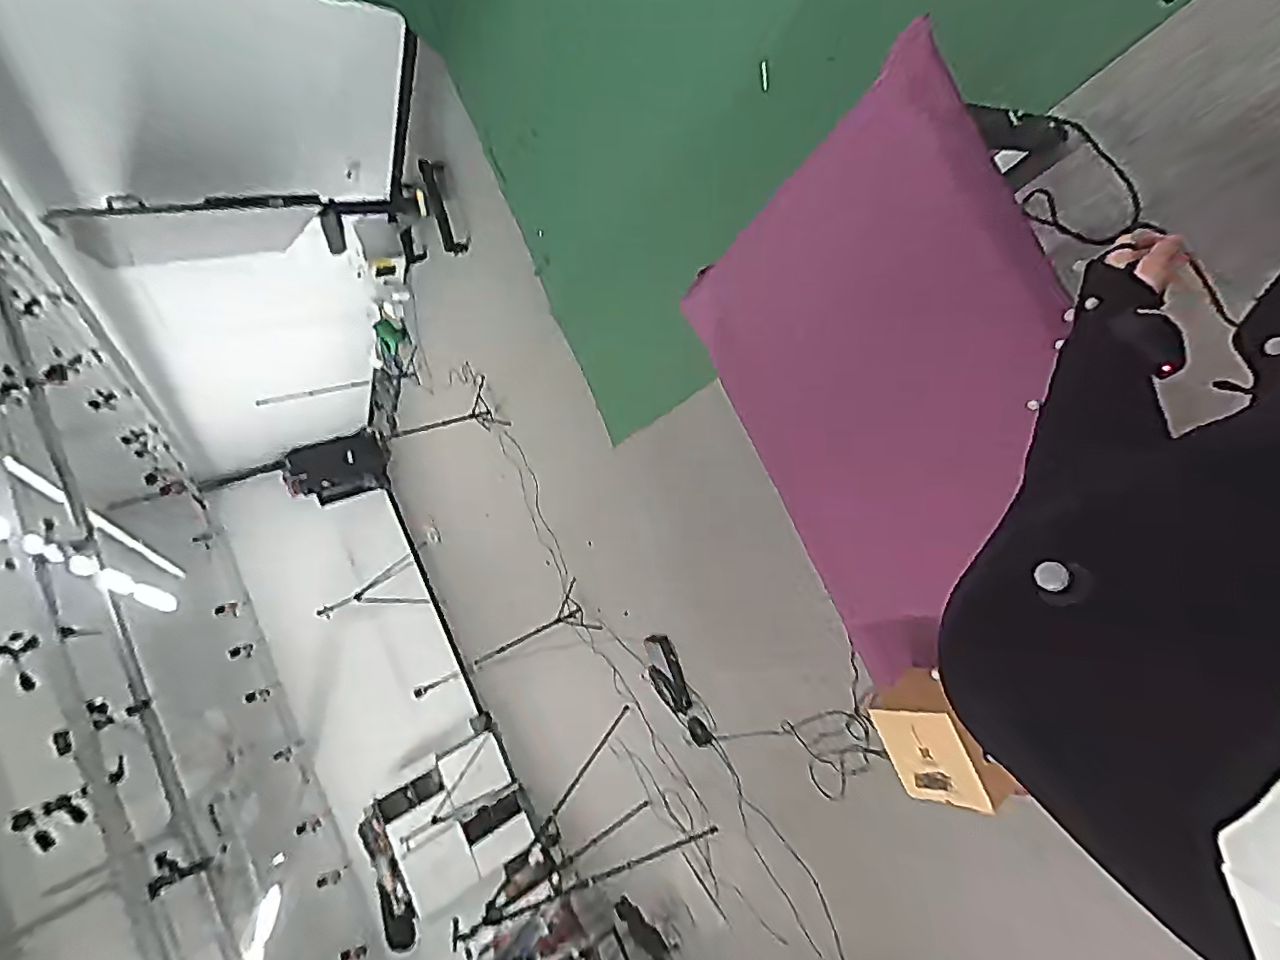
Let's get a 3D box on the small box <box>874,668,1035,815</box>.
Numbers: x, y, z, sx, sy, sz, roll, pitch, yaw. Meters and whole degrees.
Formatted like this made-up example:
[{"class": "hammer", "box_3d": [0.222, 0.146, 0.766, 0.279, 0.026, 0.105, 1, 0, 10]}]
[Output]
[{"class": "small box", "box_3d": [0.579, 0.468, 0.997, 0.168, 0.176, 0.179, -34, 79, 56]}]
